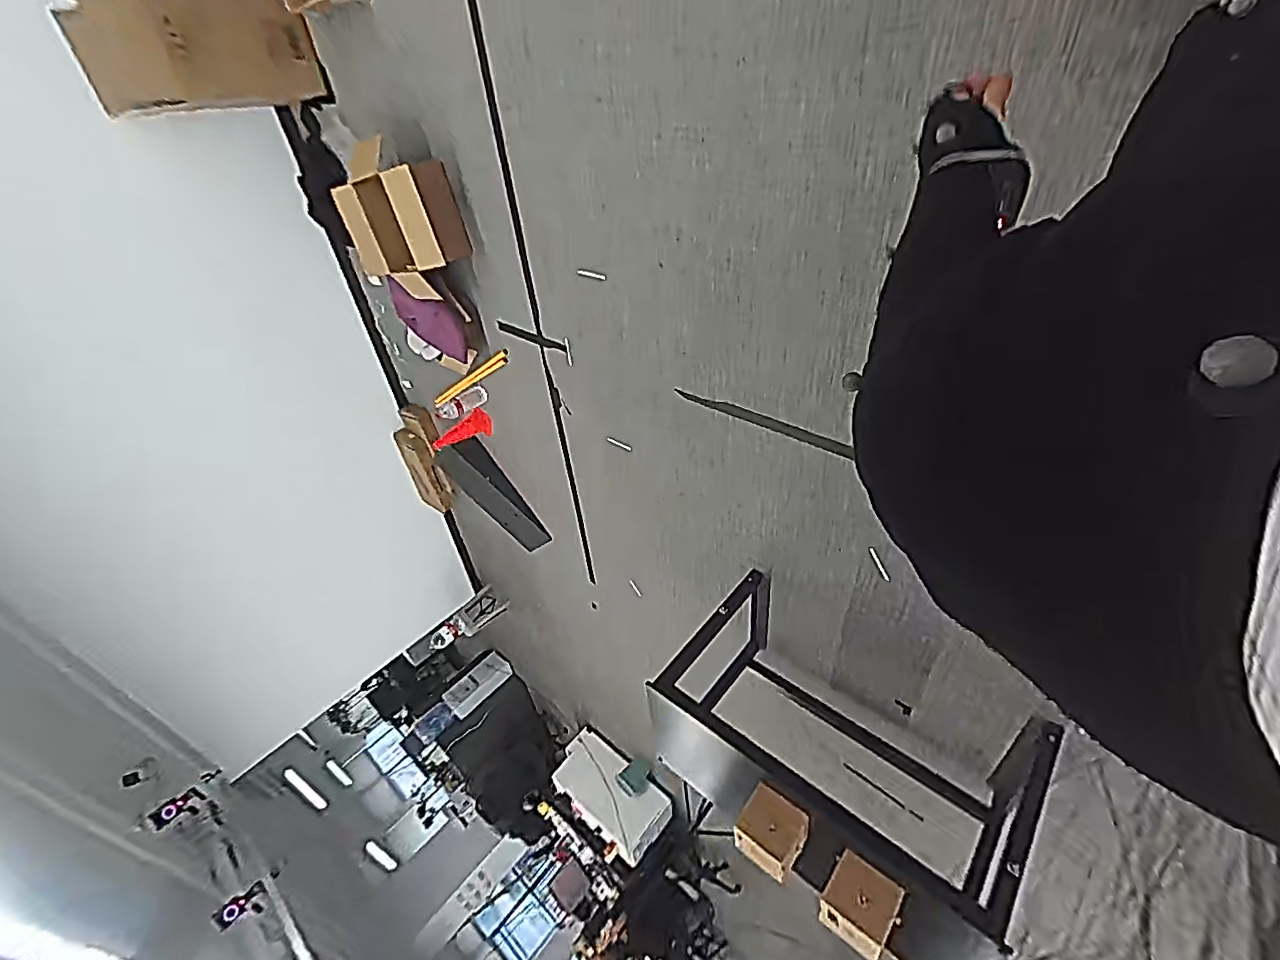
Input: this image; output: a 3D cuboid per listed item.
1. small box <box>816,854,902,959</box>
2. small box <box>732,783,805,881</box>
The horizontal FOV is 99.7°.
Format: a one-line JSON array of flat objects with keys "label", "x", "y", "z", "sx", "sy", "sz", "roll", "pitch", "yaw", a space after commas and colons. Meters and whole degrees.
[{"label": "small box", "x": 0.637, "y": 1.237, "z": 1.578, "sx": 0.179, "sy": 0.176, "sz": 0.168, "roll": 21, "pitch": 136, "yaw": 36}, {"label": "small box", "x": 0.417, "y": 1.126, "z": 1.740, "sx": 0.179, "sy": 0.176, "sz": 0.168, "roll": 22, "pitch": 136, "yaw": 36}]
